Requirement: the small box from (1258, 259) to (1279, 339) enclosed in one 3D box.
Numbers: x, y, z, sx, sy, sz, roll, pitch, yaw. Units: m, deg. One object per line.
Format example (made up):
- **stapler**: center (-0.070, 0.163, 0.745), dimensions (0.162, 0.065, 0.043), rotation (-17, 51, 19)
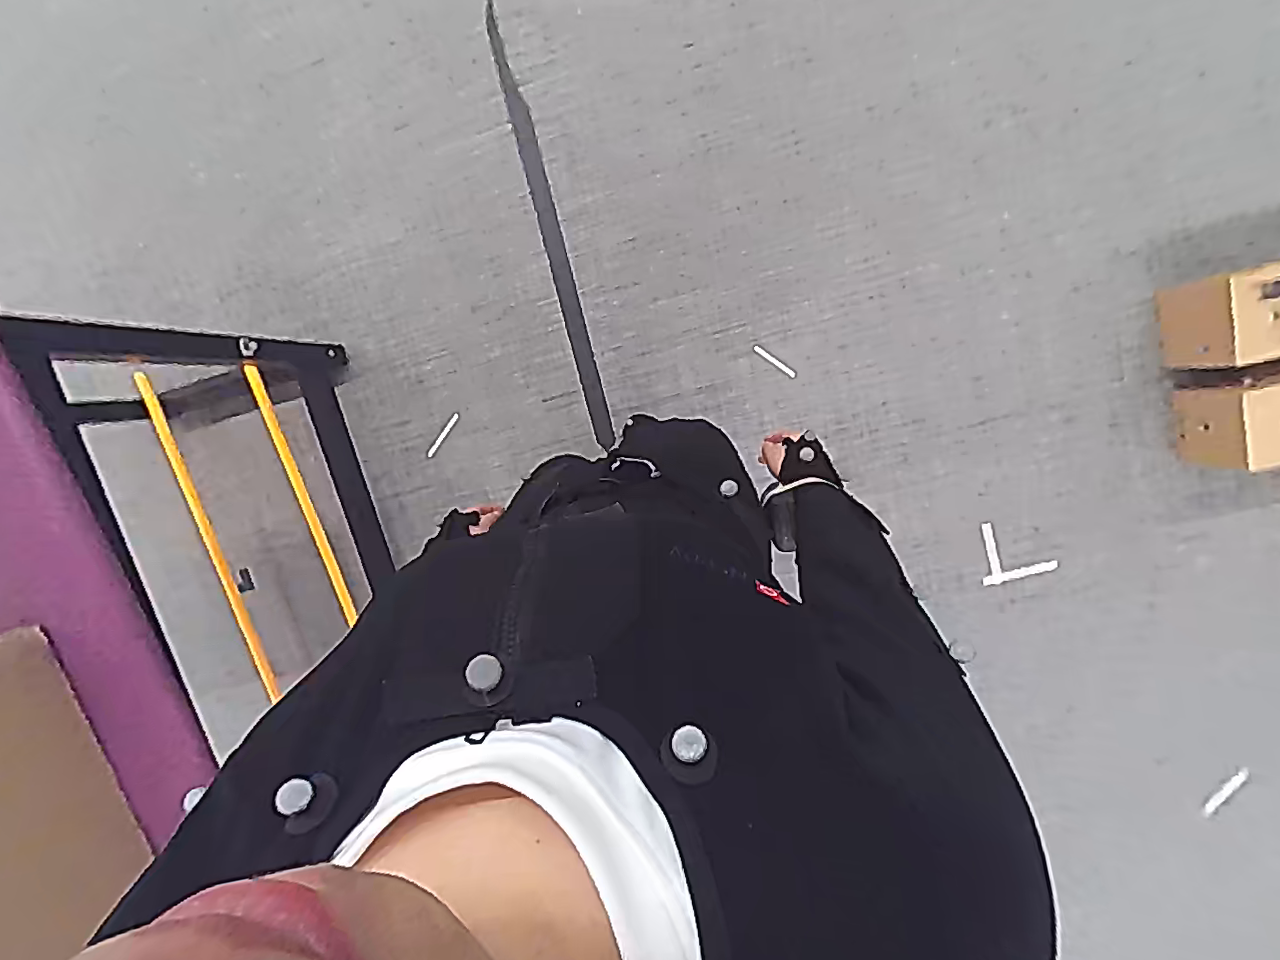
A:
- **small box**: center (1.424, -0.392, 1.097), dimensions (0.179, 0.176, 0.168), rotation (-16, 99, 6)
